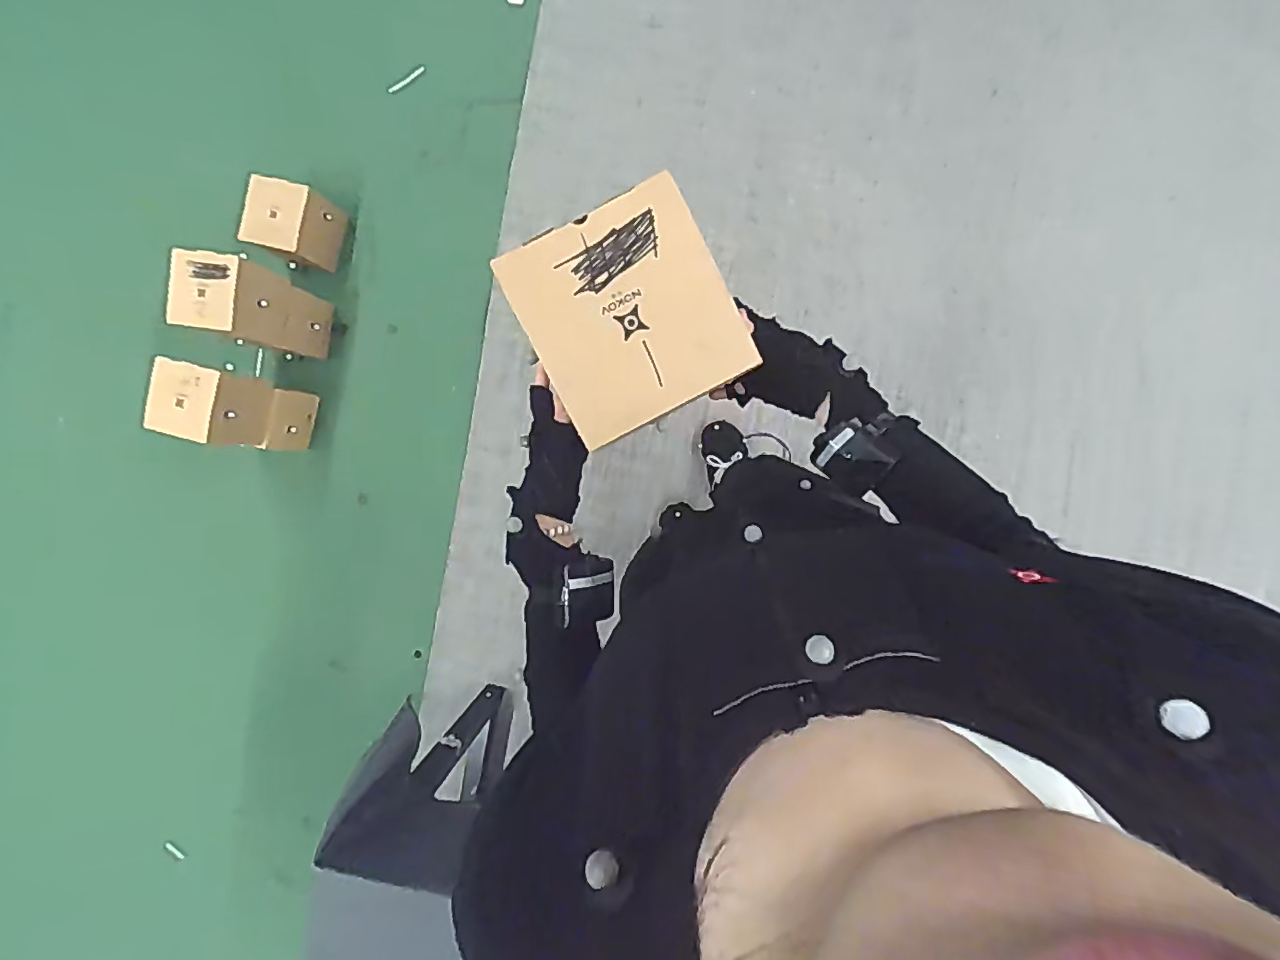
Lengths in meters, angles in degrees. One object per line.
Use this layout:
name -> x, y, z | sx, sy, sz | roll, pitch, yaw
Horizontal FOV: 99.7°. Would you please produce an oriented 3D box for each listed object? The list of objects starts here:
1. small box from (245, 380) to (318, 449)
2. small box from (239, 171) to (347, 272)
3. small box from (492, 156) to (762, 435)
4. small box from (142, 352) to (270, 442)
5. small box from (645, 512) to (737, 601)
small box -> -1.033, -0.188, 1.491 | 0.179, 0.176, 0.168 | 16, 93, 4
small box -> -0.934, -0.695, 1.471 | 0.168, 0.176, 0.179 | 15, 93, 4
small box -> -0.013, -0.152, 0.514 | 0.168, 0.176, 0.179 | -27, 95, 0
small box -> -1.054, -0.195, 1.327 | 0.168, 0.176, 0.179 | 15, 93, 4
small box -> 0.131, 0.195, 1.428 | 0.179, 0.176, 0.168 | 25, 102, 22
